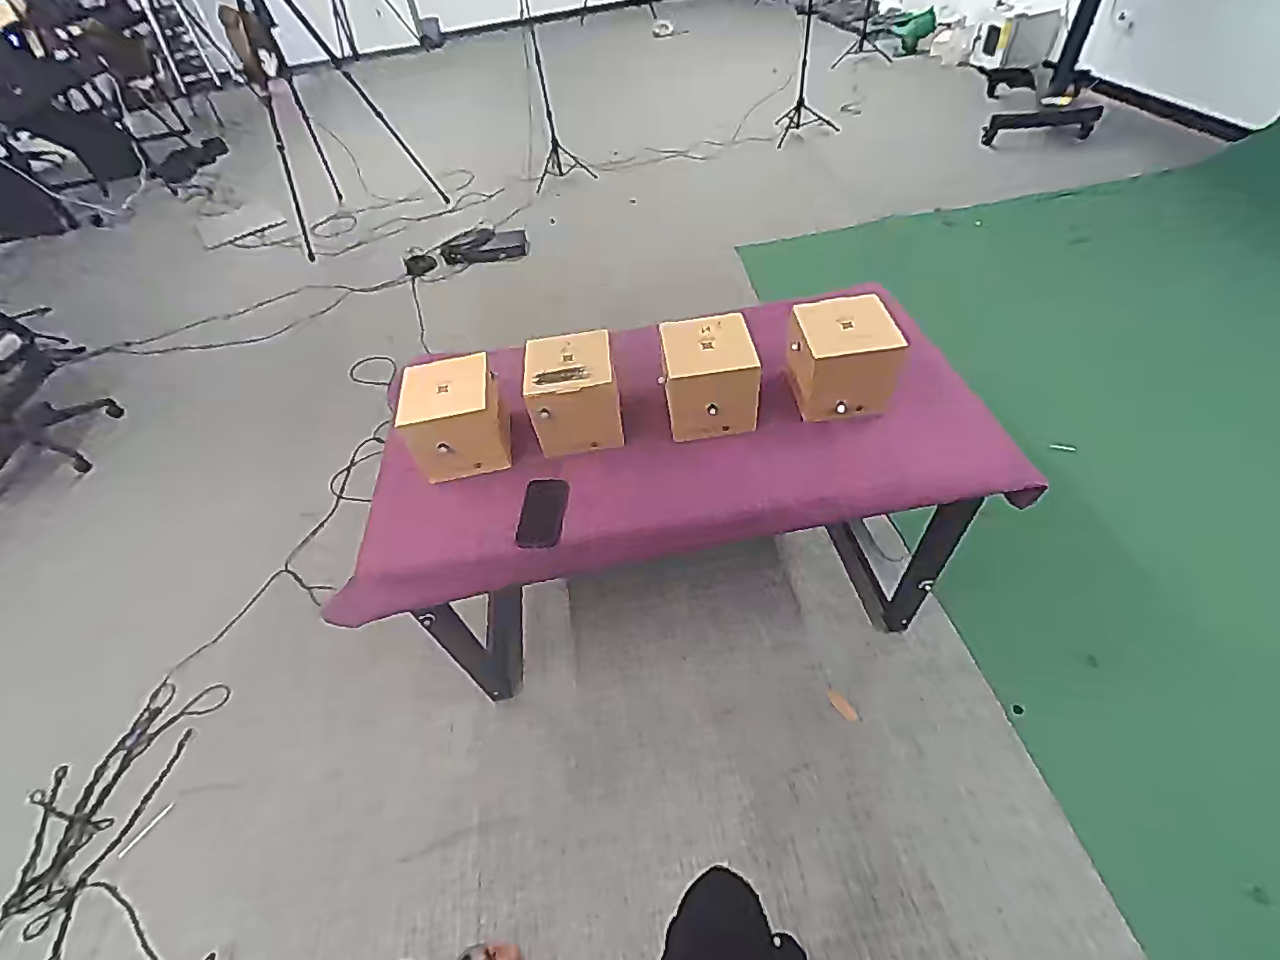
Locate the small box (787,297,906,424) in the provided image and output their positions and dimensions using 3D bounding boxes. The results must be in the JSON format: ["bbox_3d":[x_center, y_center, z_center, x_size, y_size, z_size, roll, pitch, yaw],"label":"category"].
[{"bbox_3d":[0.393,-0.234,1.067,0.168,0.176,0.179,-7,49,4],"label":"small box"}]

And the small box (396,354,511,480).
[{"bbox_3d":[-0.359,-0.118,1.076,0.168,0.176,0.179,-12,48,-2],"label":"small box"}]

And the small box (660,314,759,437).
[{"bbox_3d":[0.135,-0.200,1.073,0.168,0.176,0.179,-7,49,1],"label":"small box"}]
